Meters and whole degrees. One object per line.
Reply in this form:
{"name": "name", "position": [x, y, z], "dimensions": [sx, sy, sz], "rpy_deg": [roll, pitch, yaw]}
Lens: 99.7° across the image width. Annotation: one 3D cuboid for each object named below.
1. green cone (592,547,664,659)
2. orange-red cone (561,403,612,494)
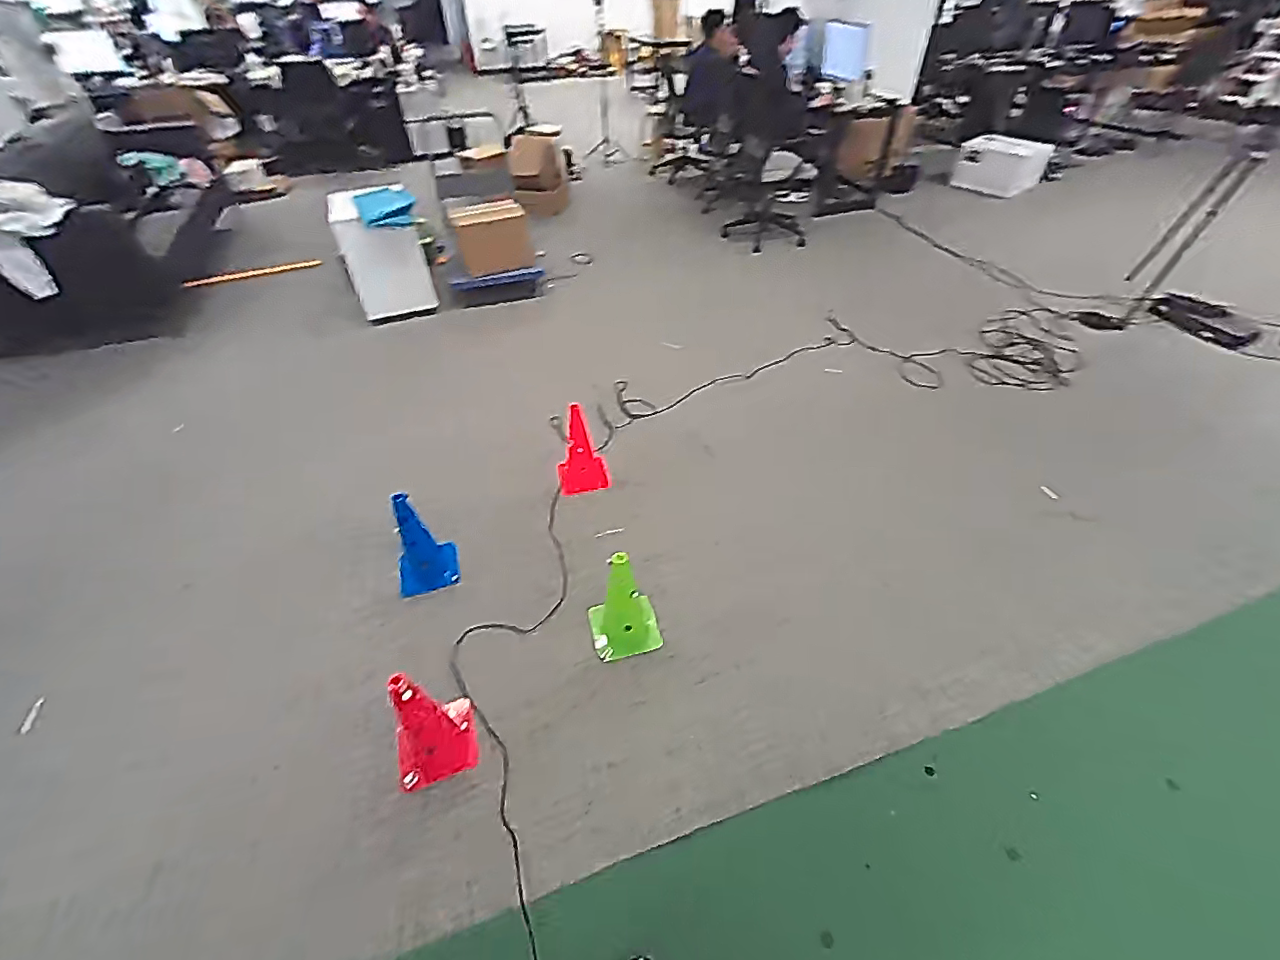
{"name": "green cone", "position": [-0.042, 0.334, 1.599], "dimensions": [0.200, 0.368, 0.202], "rpy_deg": [-12, 43, -11]}
{"name": "orange-red cone", "position": [-0.230, -0.146, 2.119], "dimensions": [0.198, 0.360, 0.199], "rpy_deg": [-11, 46, -8]}
